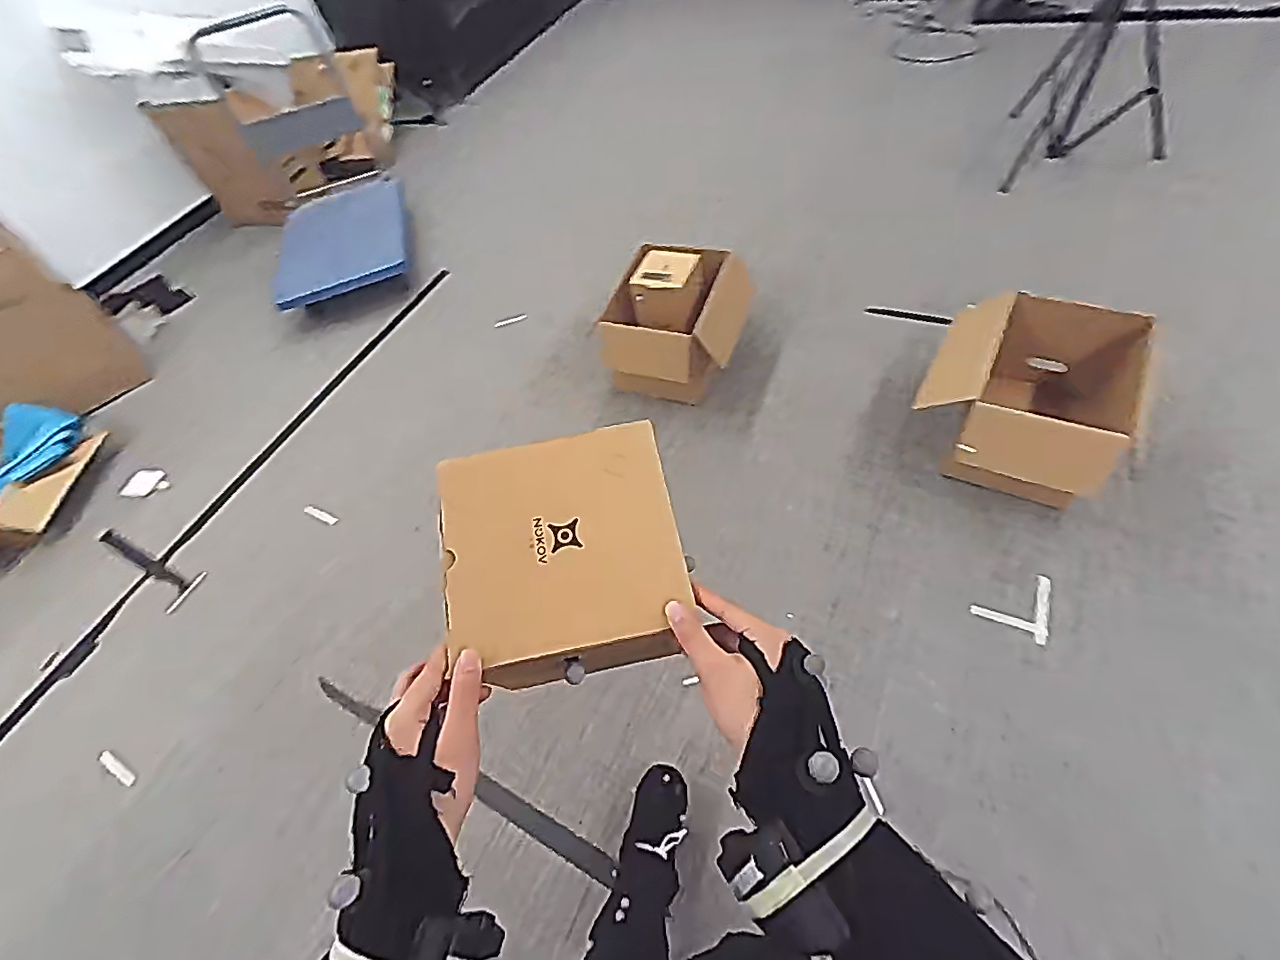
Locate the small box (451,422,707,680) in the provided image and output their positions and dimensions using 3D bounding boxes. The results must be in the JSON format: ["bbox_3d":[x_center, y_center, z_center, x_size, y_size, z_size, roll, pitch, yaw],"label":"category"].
[{"bbox_3d":[-0.050,0.072,0.478,0.179,0.176,0.168,-11,66,-2],"label":"small box"}]
